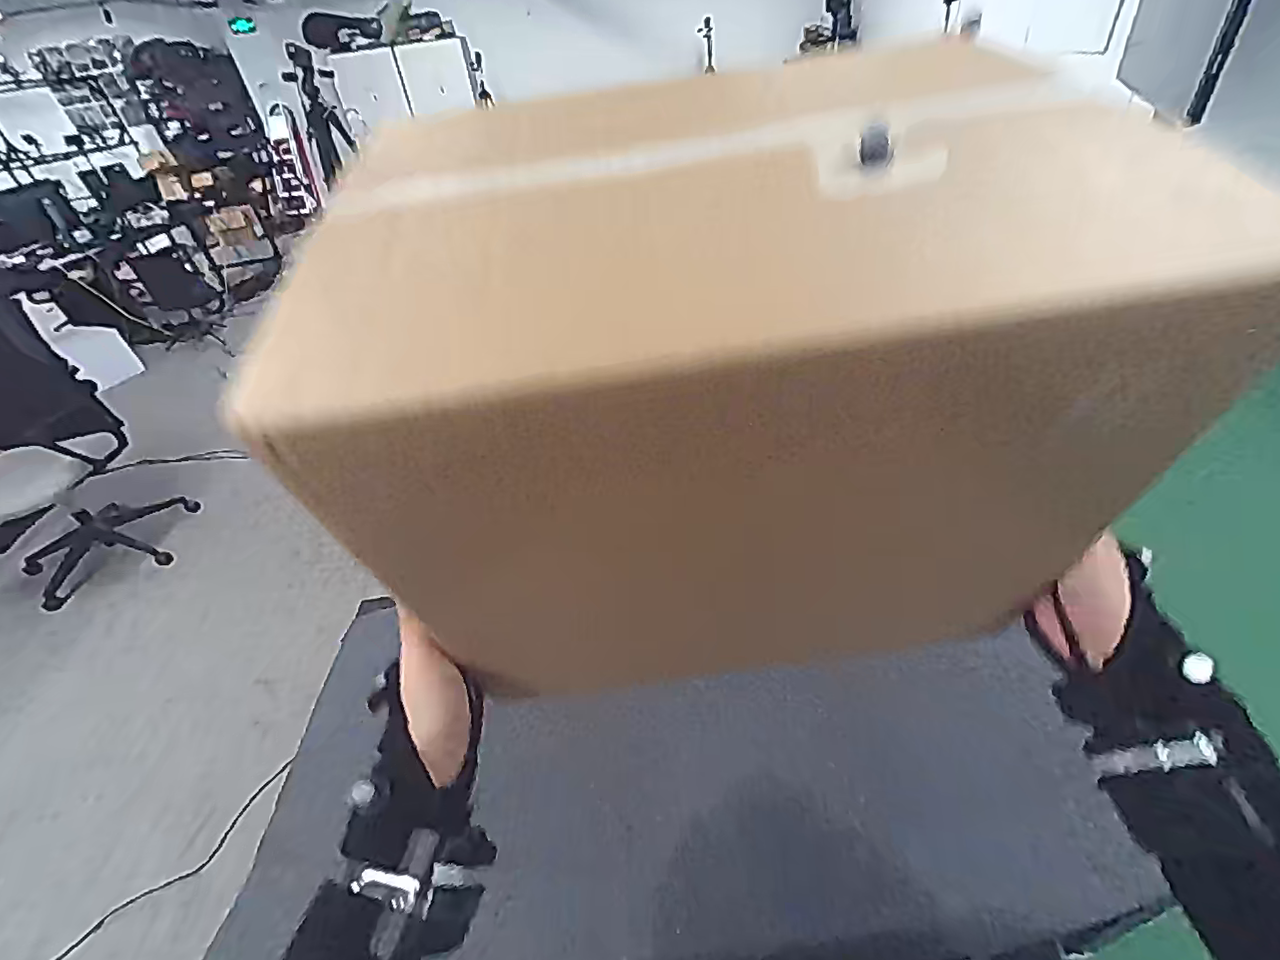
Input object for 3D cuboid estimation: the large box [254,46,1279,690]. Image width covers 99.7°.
[{"bbox_3d":[0.047,-0.071,0.406,0.408,0.320,0.320,-9,52,0],"label":"large box"}]
